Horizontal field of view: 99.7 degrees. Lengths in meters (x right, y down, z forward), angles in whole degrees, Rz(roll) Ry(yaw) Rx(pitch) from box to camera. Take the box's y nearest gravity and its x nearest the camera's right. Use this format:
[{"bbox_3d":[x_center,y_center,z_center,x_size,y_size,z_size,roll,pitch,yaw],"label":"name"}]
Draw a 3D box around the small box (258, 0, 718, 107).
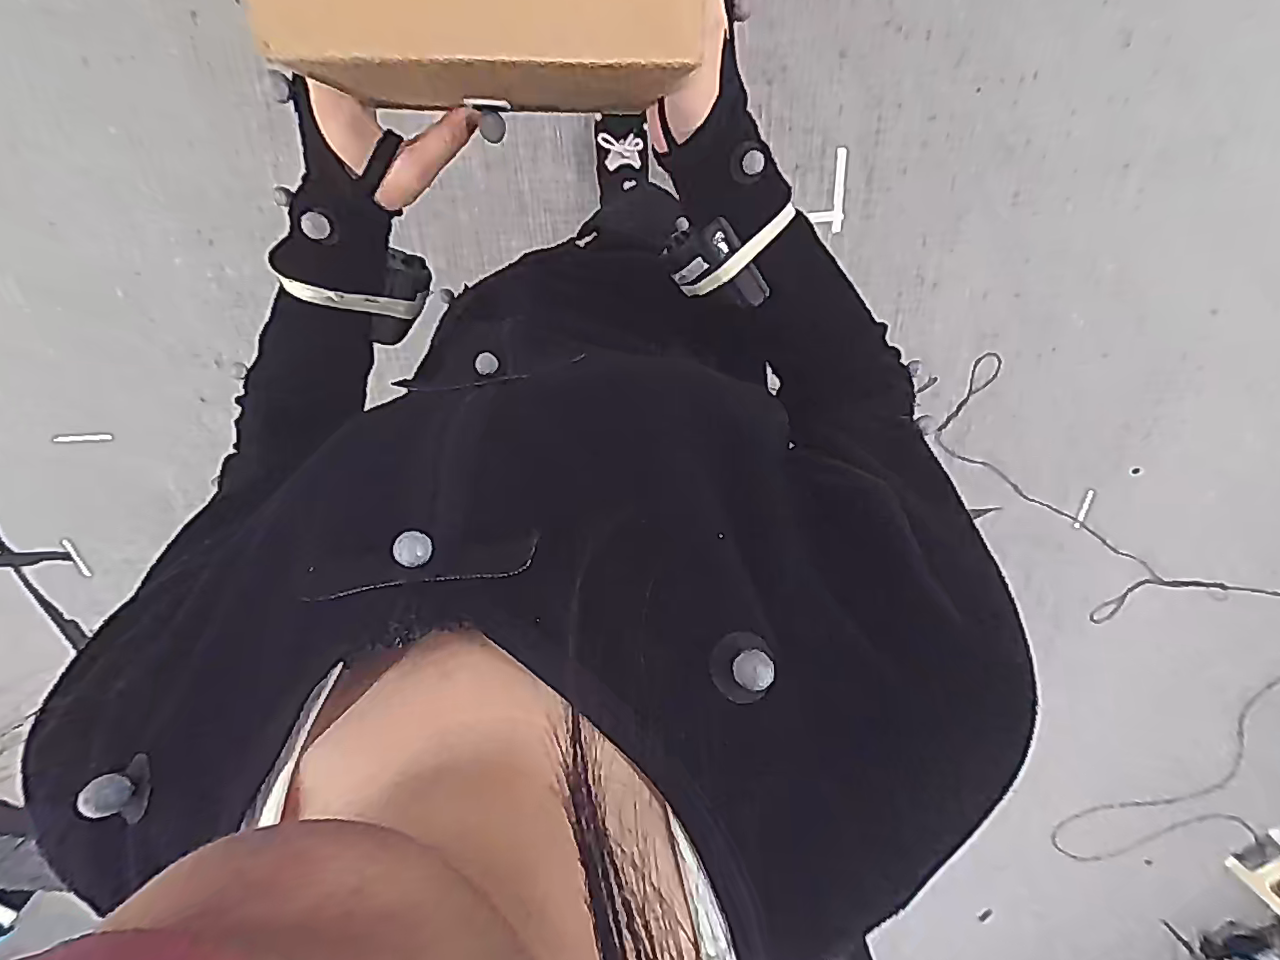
[{"bbox_3d":[-0.064,-0.276,0.230,0.168,0.176,0.179,-5,119,-7],"label":"small box"}]
